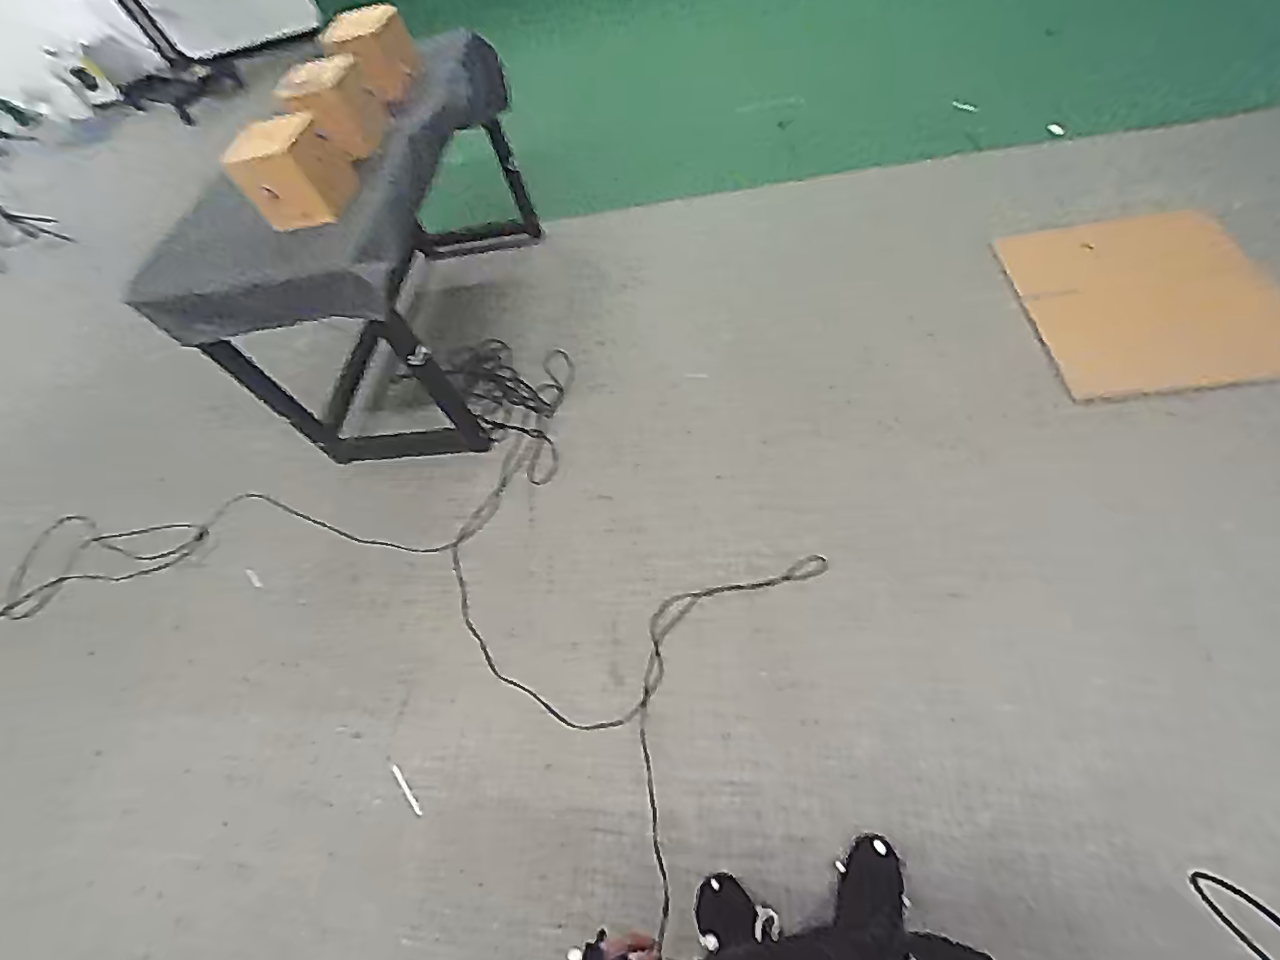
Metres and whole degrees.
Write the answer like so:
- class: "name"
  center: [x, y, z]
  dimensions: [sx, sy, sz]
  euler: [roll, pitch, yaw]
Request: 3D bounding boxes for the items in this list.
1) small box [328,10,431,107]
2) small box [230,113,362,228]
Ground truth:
- class: "small box"
  center: [-0.749, -1.217, 1.572]
  dimensions: [0.179, 0.176, 0.168]
  euler: [3, 61, 14]
- class: "small box"
  center: [-0.789, -0.712, 1.264]
  dimensions: [0.168, 0.176, 0.179]
  euler: [-4, 57, 12]
